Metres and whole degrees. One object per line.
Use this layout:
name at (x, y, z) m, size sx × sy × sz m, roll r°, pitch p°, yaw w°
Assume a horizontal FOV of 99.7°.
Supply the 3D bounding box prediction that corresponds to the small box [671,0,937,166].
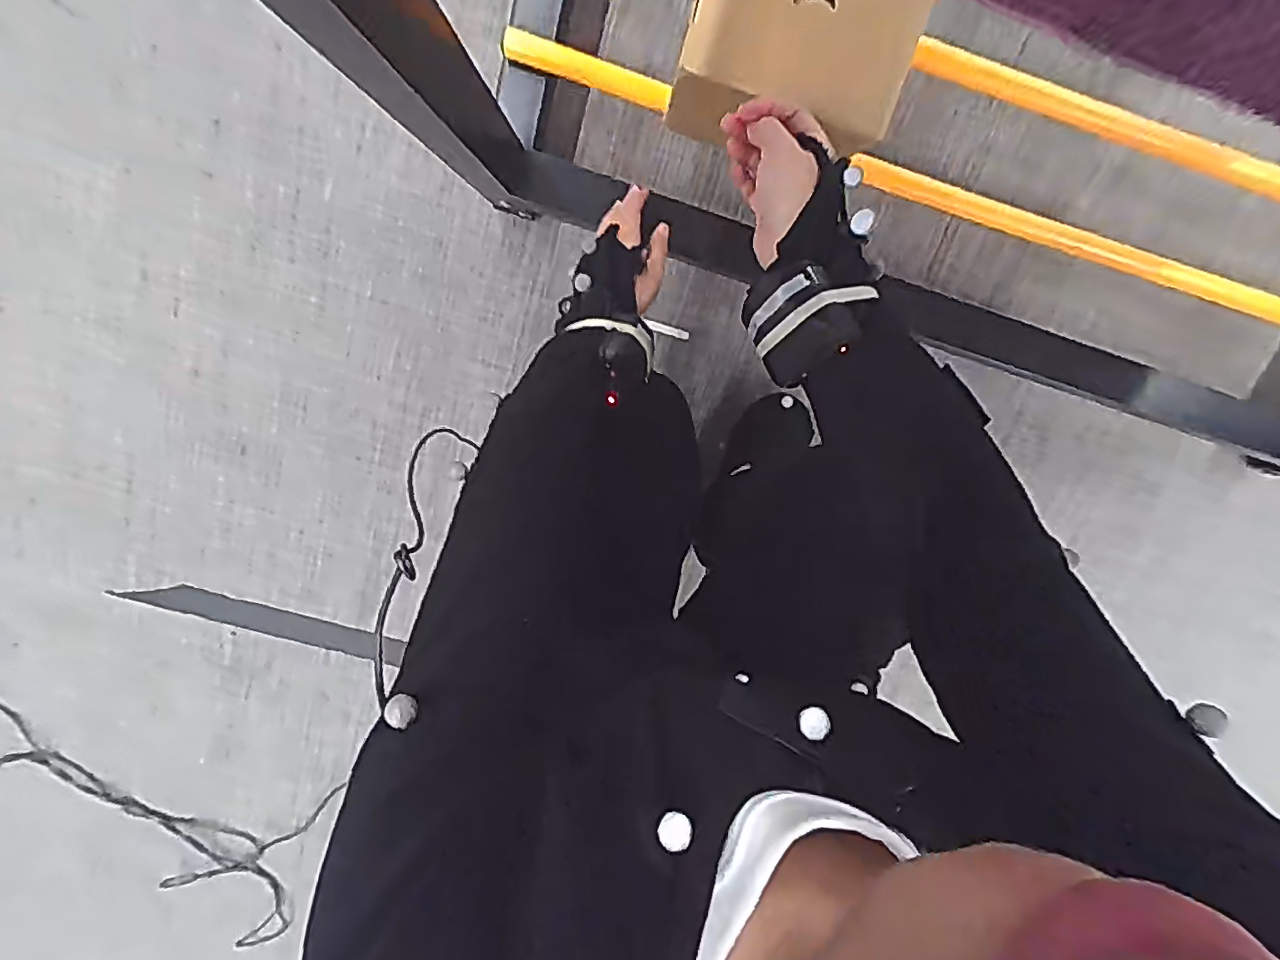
small box at (0.136, -0.401, 0.475) m, size 0.179 × 0.176 × 0.168 m, roll 15°, pitch 107°, yaw -6°
